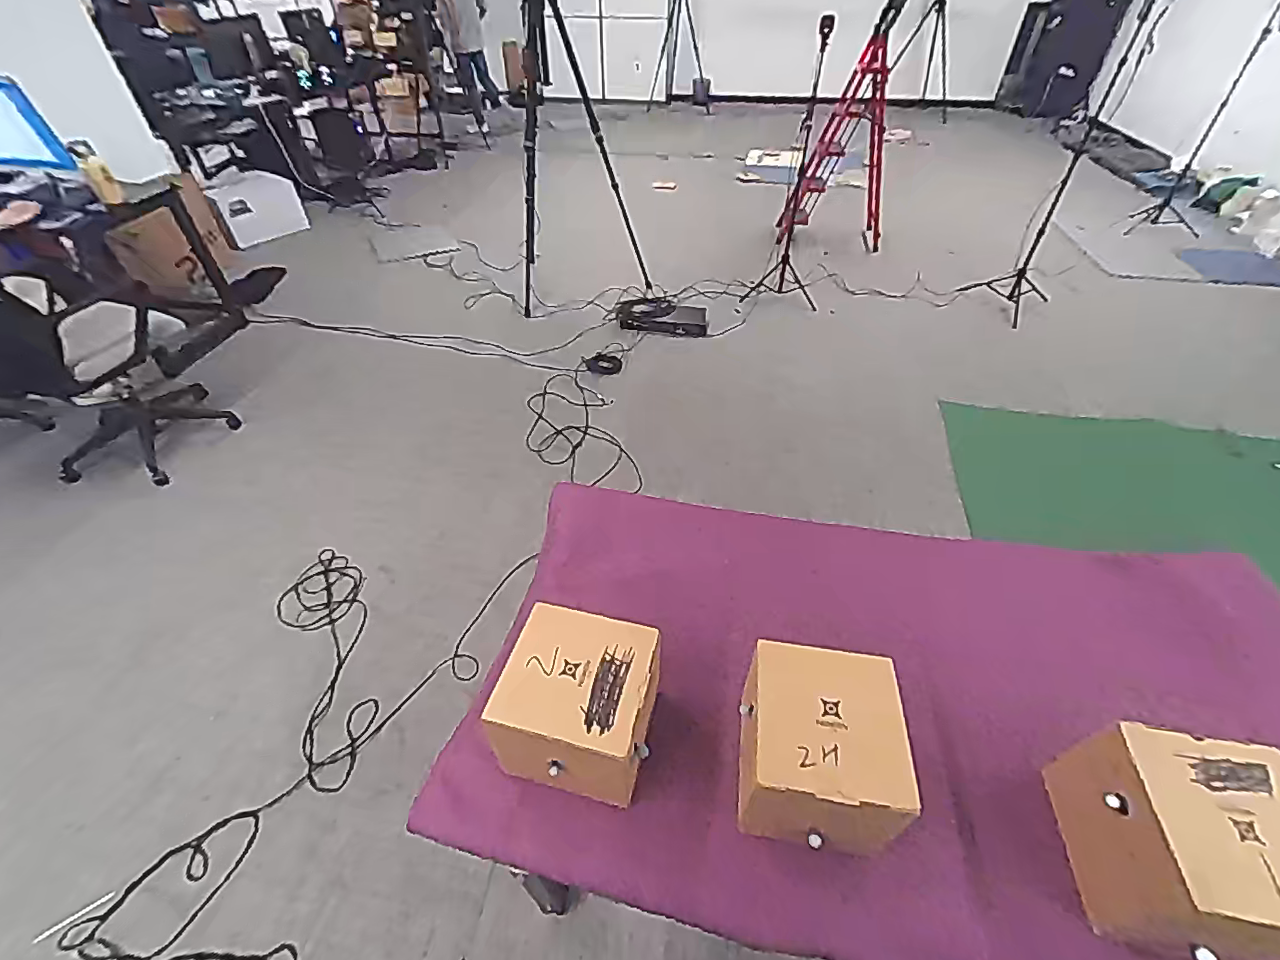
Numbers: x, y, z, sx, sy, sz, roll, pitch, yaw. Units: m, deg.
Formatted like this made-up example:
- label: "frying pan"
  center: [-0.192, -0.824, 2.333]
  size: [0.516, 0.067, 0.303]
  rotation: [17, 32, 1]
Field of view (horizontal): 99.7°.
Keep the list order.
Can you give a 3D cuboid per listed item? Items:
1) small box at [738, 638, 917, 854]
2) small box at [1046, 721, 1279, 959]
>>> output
- label: "small box"
  center: [0.215, 0.327, 0.671]
  size: [0.168, 0.176, 0.179]
  rotation: [6, 43, 7]
- label: "small box"
  center: [0.596, 0.400, 0.597]
  size: [0.168, 0.176, 0.179]
  rotation: [7, 44, 8]
